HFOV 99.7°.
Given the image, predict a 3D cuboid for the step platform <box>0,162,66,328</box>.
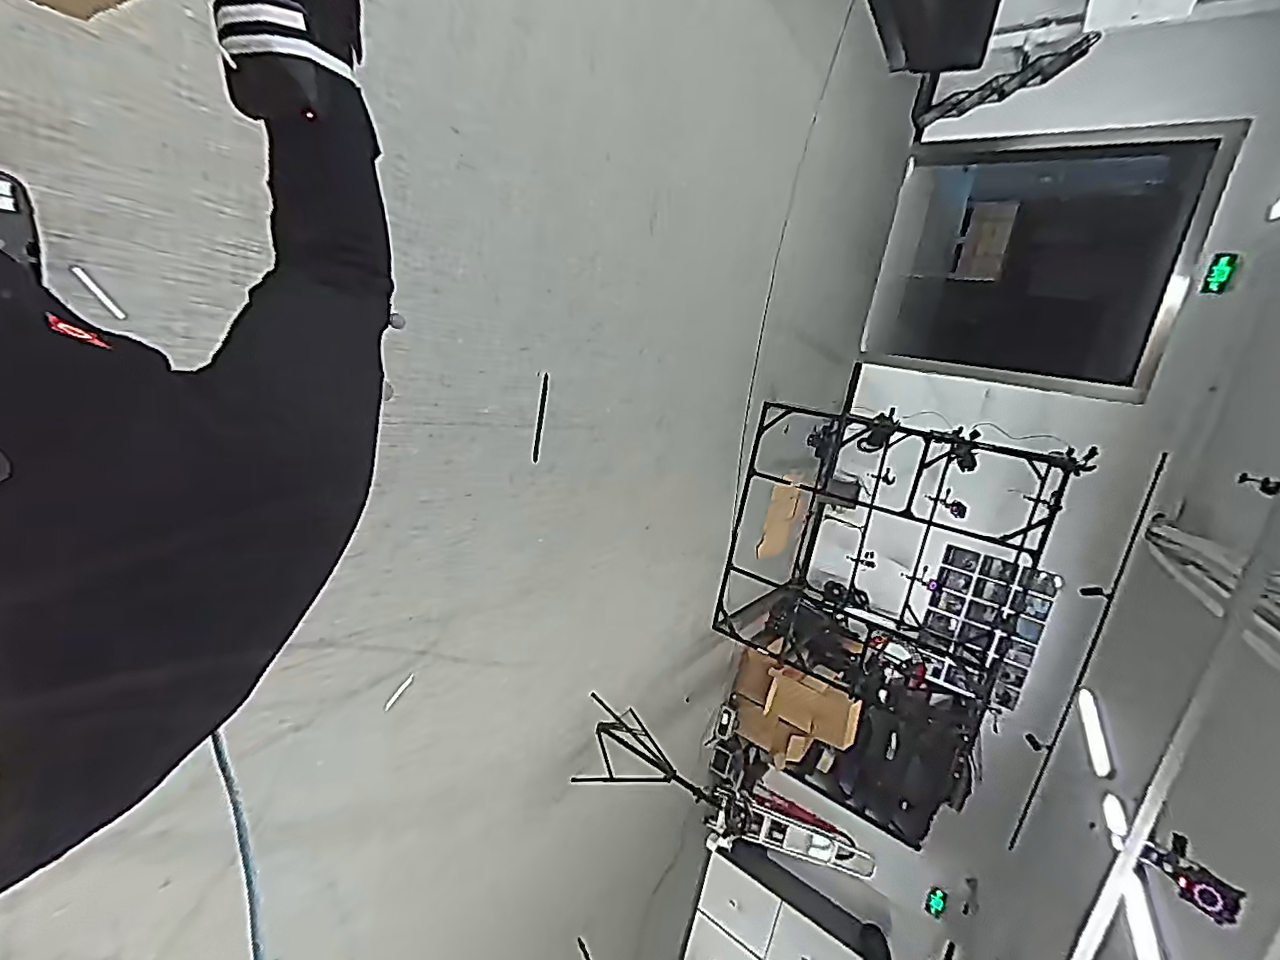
[{"bbox_3d":[-1.328,-0.408,0.783,0.684,0.204,0.286,-11,114,-55],"label":"step platform"}]
